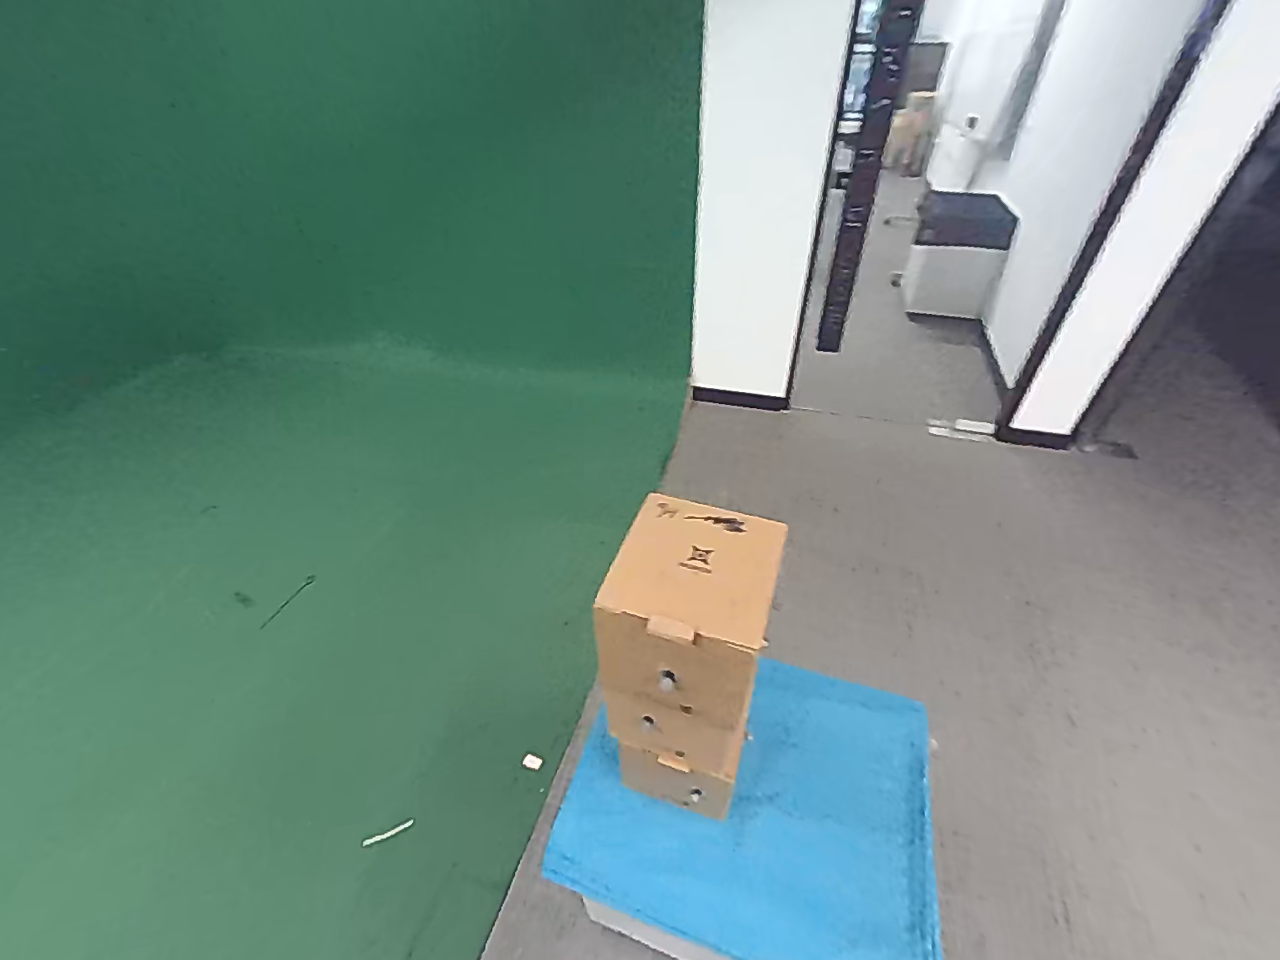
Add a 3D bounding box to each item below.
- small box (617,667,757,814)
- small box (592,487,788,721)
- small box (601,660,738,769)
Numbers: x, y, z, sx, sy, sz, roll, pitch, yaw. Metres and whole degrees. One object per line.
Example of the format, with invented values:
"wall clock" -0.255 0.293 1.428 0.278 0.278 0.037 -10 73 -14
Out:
"small box" 0.074 0.379 0.837 0.168 0.176 0.179 13 43 15
"small box" 0.060 0.140 0.616 0.168 0.176 0.179 14 43 16
"small box" 0.060 0.255 0.734 0.168 0.176 0.179 14 43 16
